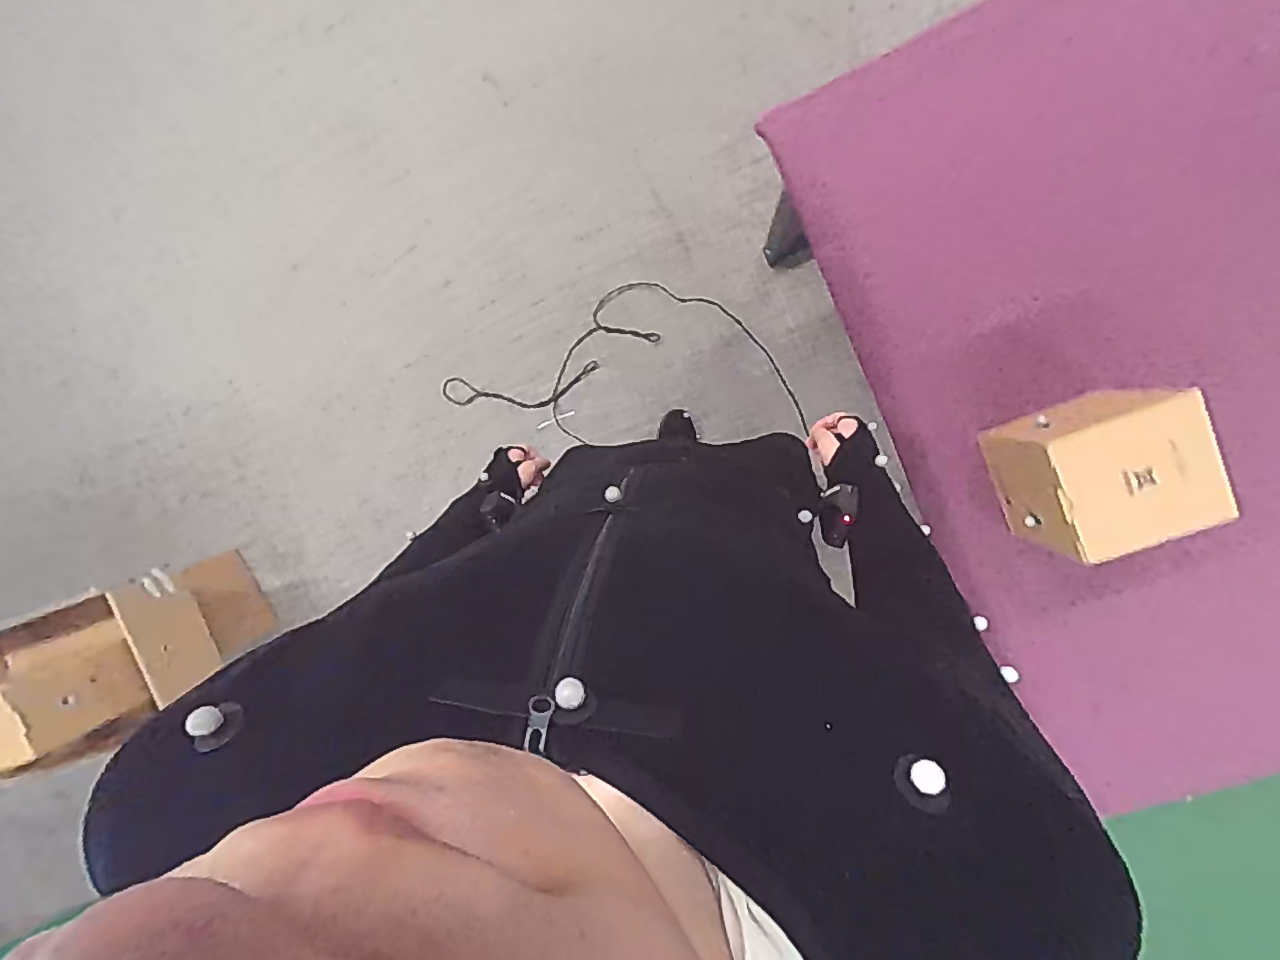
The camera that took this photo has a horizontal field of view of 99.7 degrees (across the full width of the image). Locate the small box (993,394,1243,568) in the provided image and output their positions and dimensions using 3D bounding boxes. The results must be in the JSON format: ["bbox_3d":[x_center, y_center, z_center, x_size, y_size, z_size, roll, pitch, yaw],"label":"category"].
[{"bbox_3d":[0.607,-0.005,0.718,0.179,0.176,0.168,-21,96,9],"label":"small box"}]

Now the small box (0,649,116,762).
[{"bbox_3d":[-1.355,0.508,1.229,0.179,0.176,0.168,-18,95,11],"label":"small box"}]
